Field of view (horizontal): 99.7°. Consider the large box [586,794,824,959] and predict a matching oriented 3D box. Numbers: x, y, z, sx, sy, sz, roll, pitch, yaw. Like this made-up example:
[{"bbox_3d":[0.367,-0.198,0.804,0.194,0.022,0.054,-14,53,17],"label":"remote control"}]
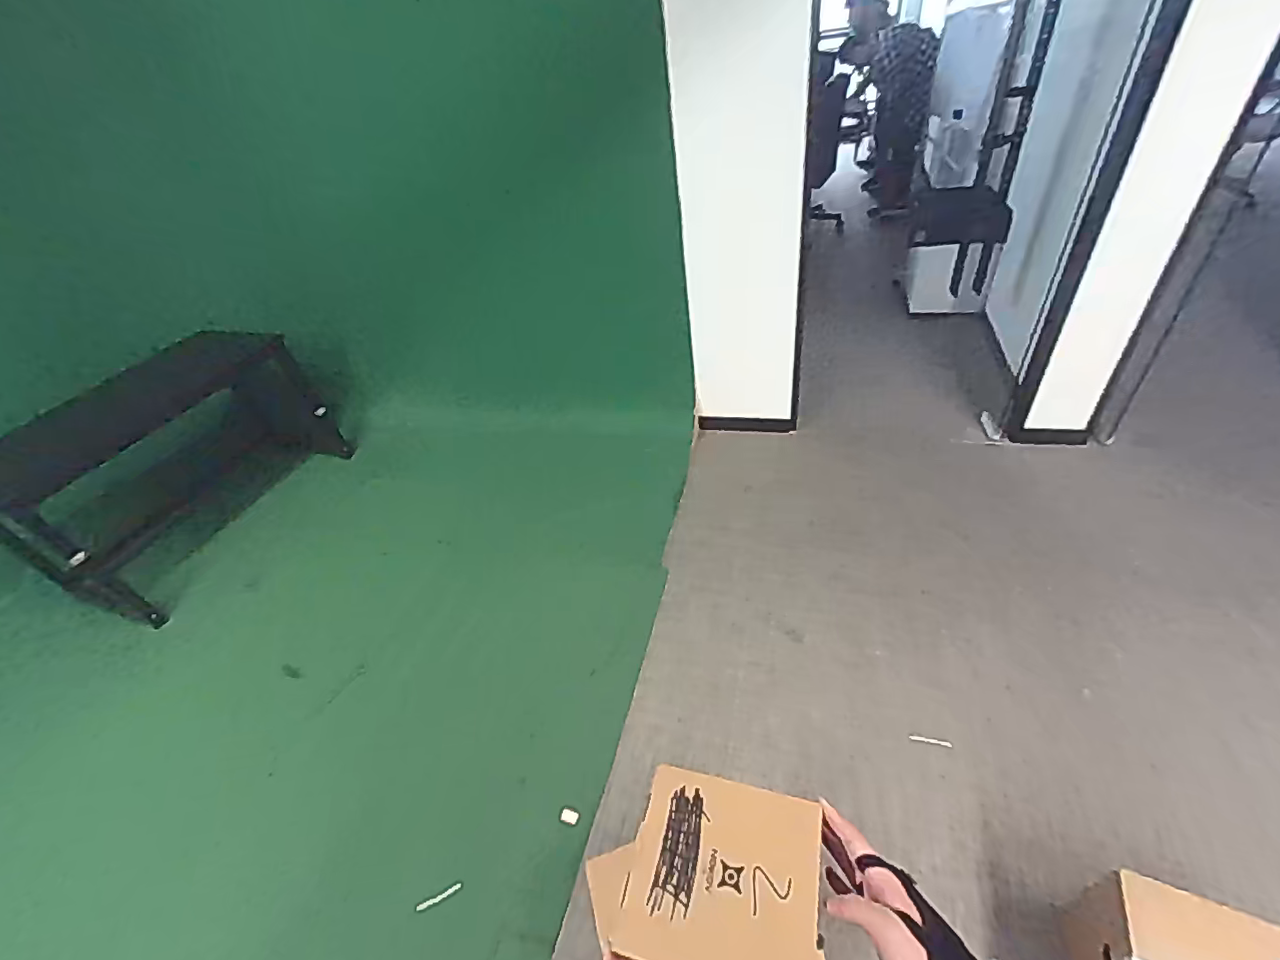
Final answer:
[{"bbox_3d":[0.137,0.973,1.185,0.408,0.320,0.320,-19,40,-8],"label":"large box"}]
